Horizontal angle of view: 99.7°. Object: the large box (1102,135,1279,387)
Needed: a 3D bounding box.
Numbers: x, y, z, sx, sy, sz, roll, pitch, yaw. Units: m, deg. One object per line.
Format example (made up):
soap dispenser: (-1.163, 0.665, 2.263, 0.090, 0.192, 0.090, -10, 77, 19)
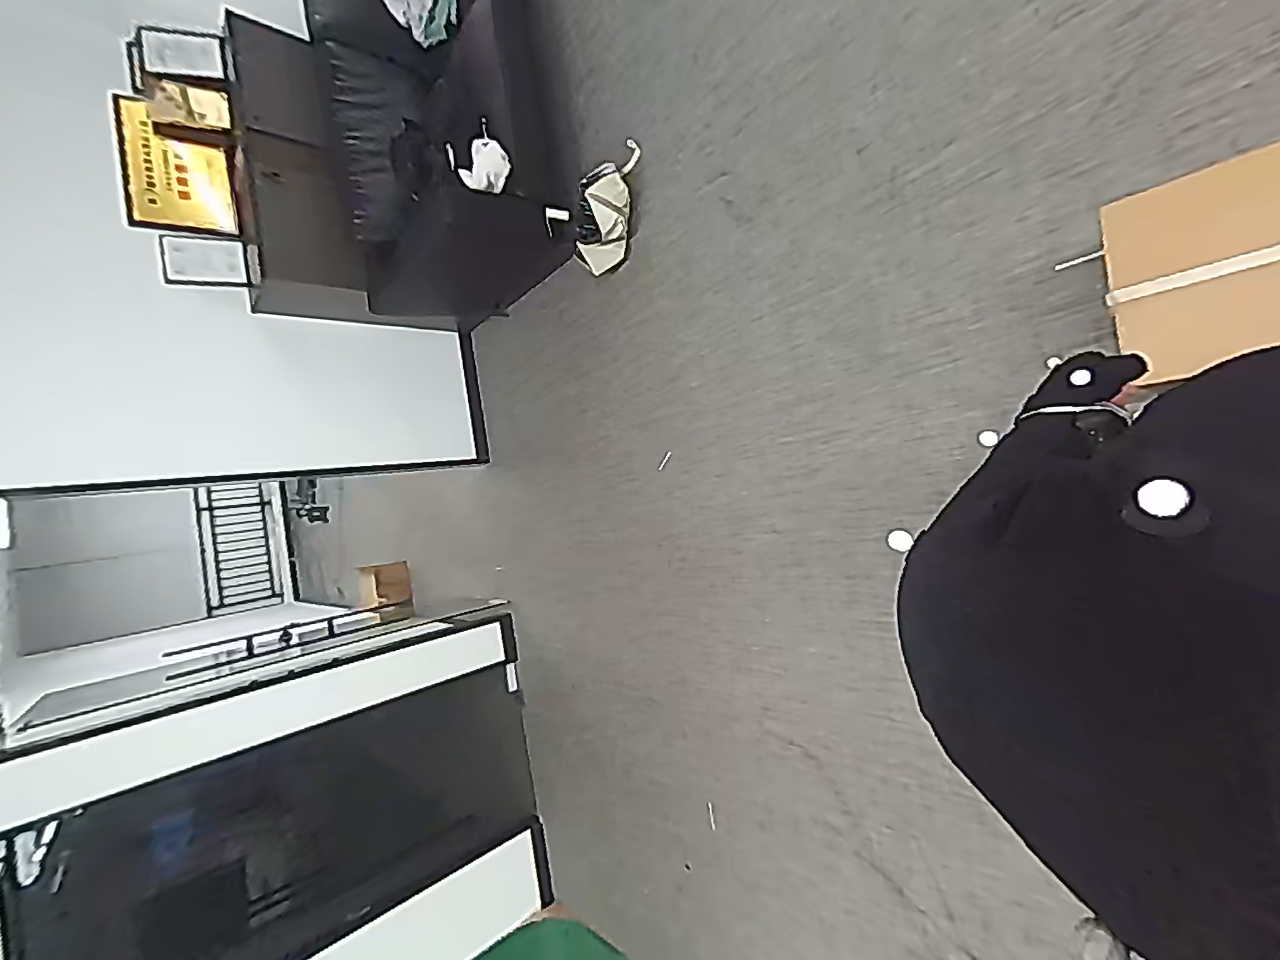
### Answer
large box: (1.044, -0.352, 0.864, 0.408, 0.320, 0.320, -9, 88, 48)
